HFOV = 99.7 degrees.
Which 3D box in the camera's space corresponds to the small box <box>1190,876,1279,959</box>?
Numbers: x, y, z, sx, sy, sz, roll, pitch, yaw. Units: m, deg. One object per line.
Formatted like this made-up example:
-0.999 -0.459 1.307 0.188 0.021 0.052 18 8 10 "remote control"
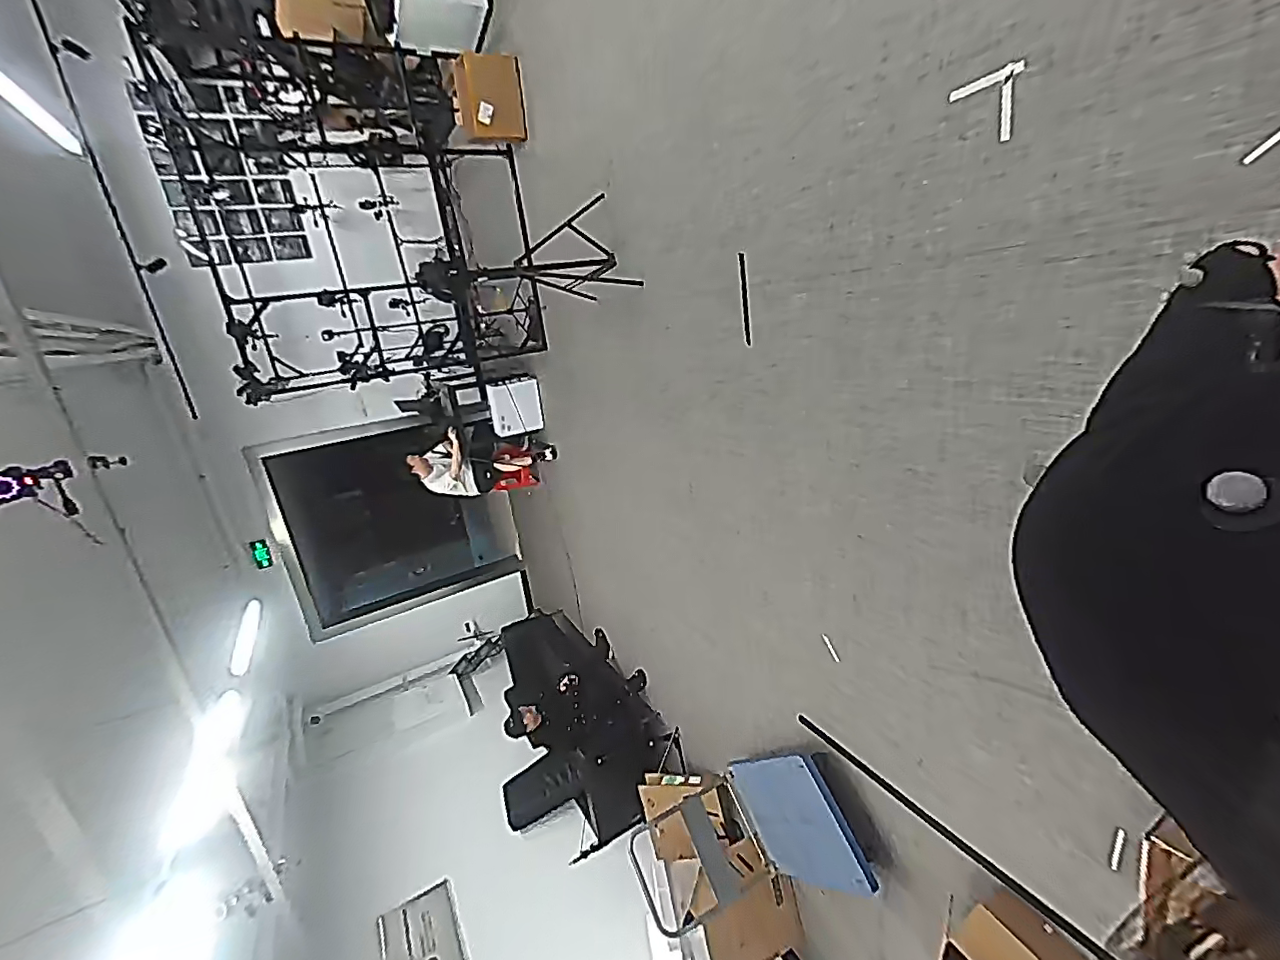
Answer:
1.349 1.032 1.179 0.168 0.176 0.179 15 118 60 "small box"
